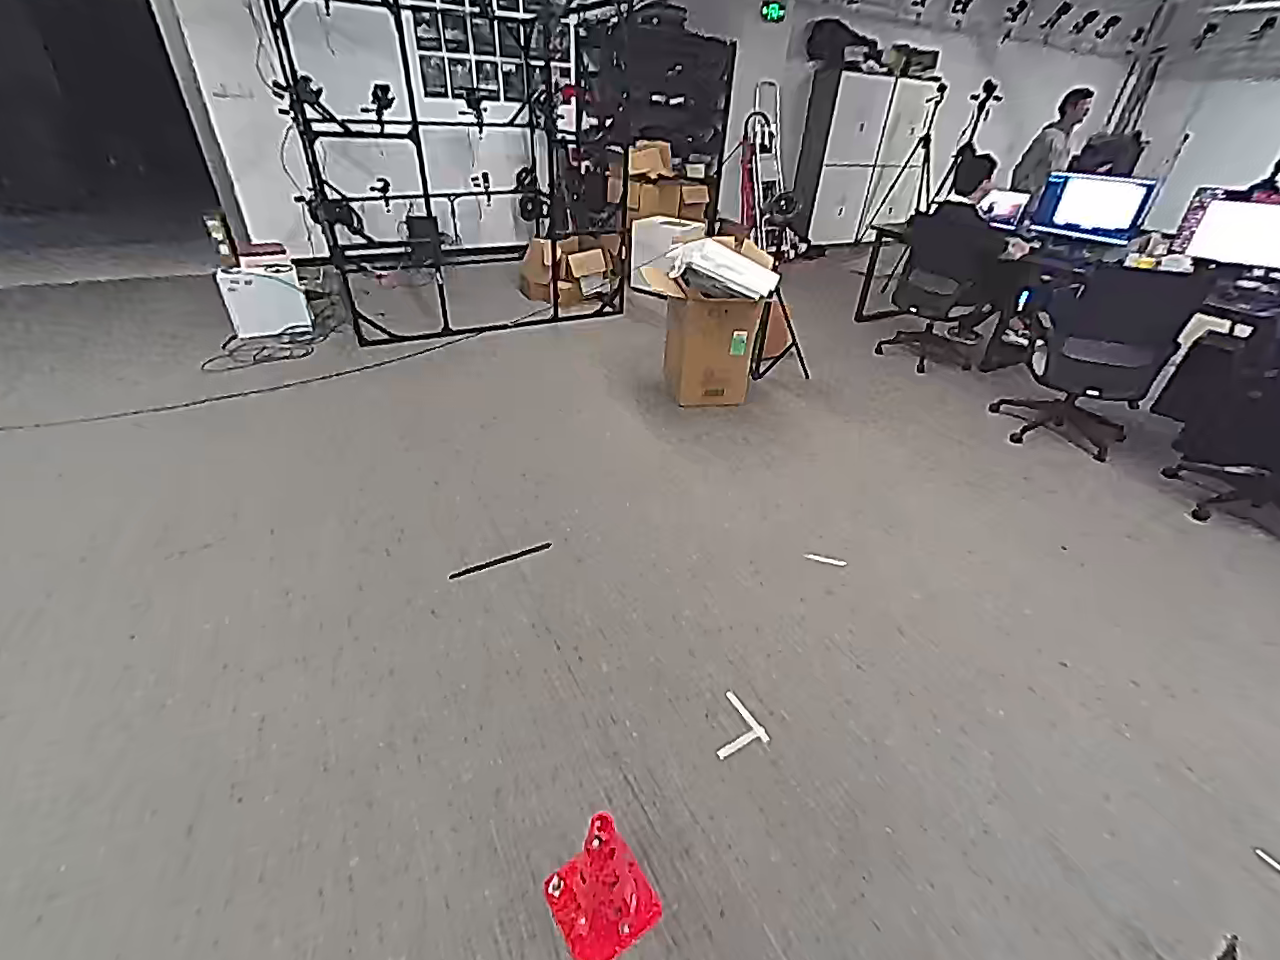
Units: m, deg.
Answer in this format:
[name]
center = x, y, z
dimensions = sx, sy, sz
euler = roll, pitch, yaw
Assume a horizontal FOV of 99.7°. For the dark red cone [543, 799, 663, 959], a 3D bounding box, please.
[dark red cone]
center = -0.071, 0.734, 1.048
dimensions = 0.202, 0.394, 0.201
euler = -21, 42, -30
